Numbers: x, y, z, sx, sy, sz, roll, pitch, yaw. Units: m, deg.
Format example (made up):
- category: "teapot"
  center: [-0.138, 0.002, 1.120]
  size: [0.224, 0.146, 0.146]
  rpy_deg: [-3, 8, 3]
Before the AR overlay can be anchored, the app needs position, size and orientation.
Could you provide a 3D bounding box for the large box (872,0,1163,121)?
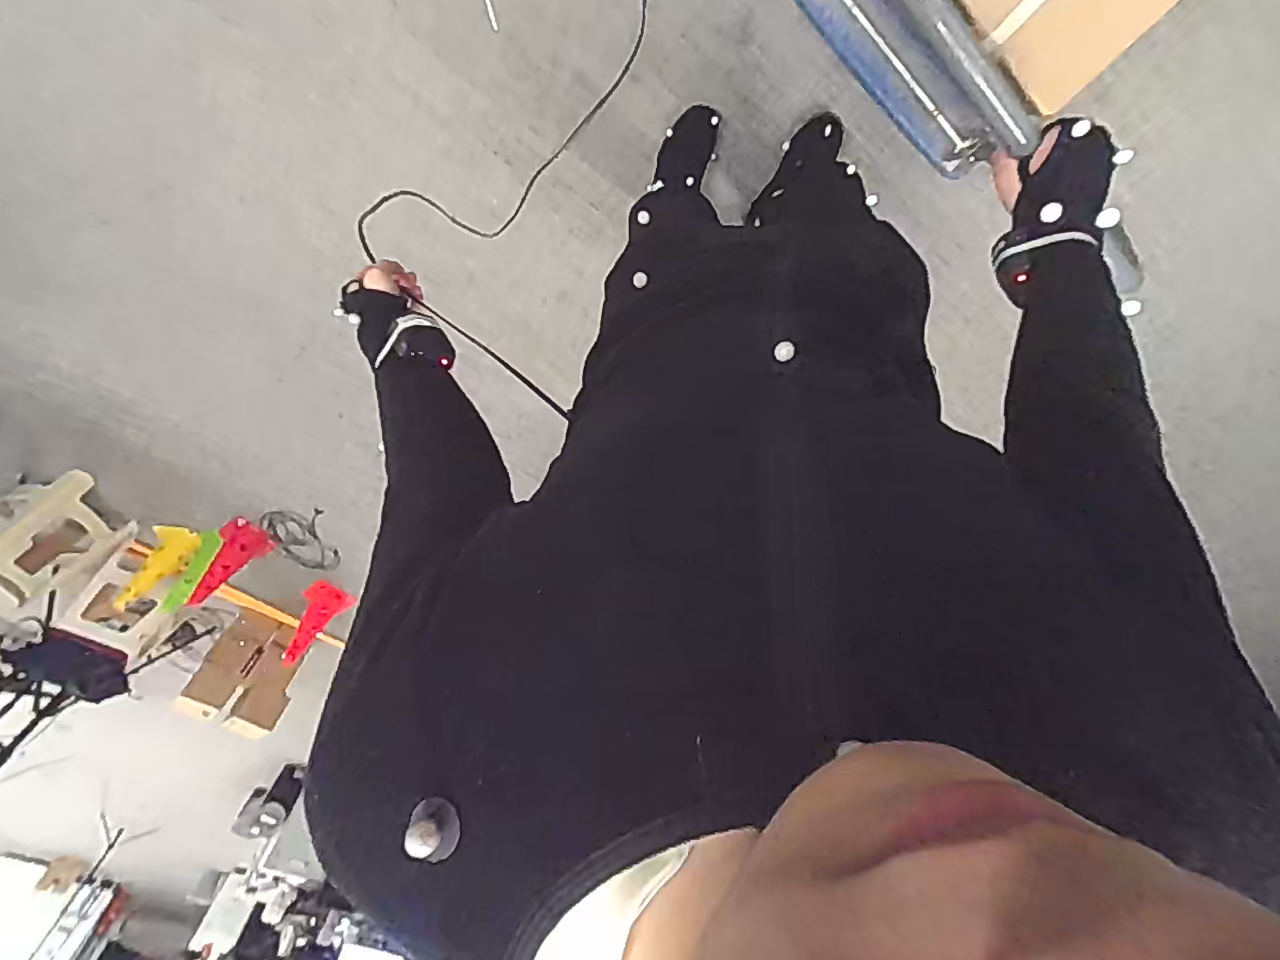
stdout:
- category: "large box"
  center: [0.618, -0.837, 0.797]
  size: [0.320, 0.320, 0.408]
  rpy_deg: [32, 125, -21]
